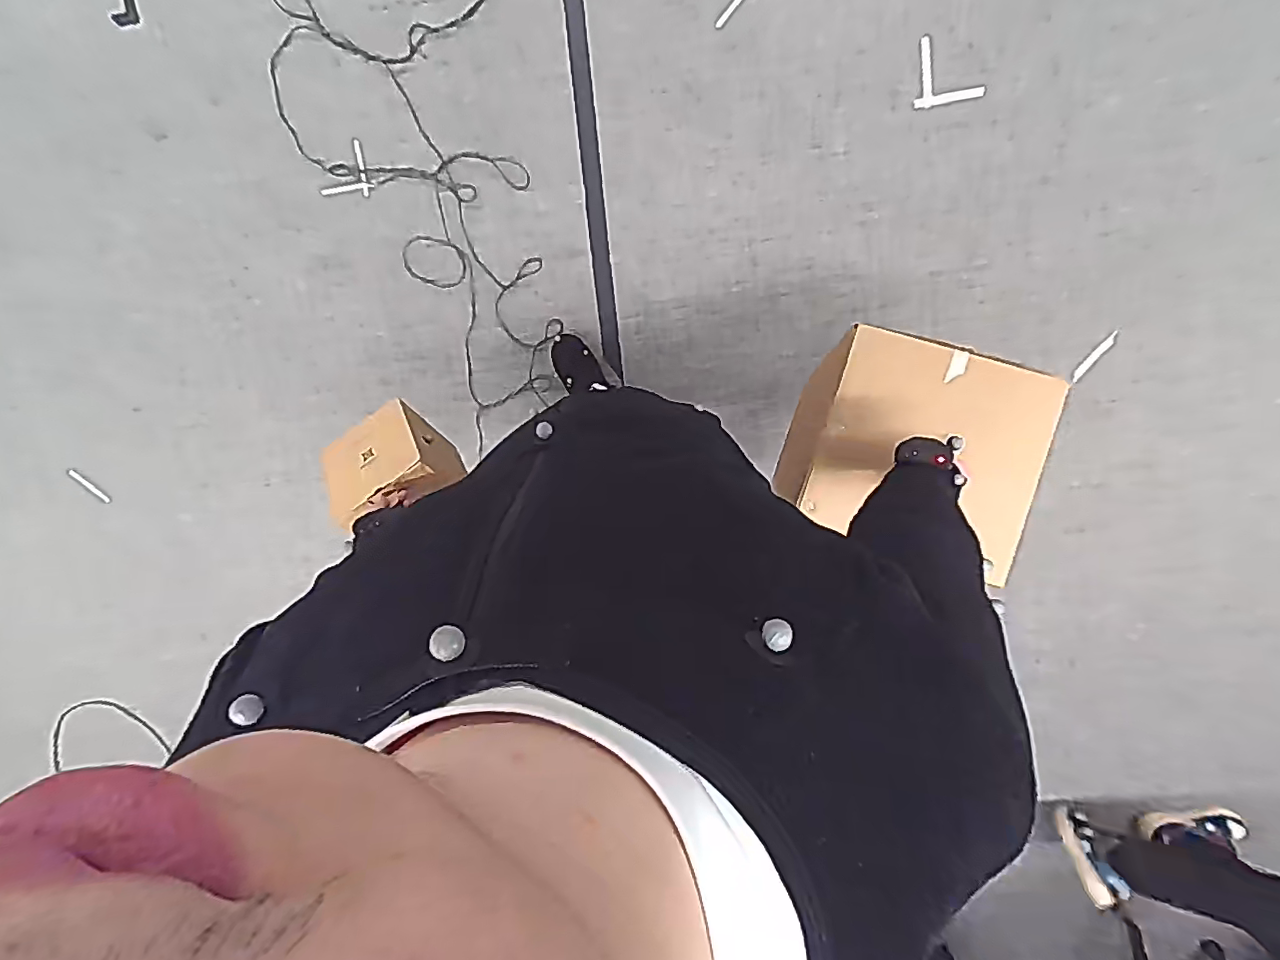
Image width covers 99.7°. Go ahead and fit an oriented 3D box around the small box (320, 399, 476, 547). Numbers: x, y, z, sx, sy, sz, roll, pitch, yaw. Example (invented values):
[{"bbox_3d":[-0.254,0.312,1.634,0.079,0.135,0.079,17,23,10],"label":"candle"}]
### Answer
[{"bbox_3d":[-0.418,-0.002,0.951,0.168,0.176,0.179,-35,55,-1],"label":"small box"}]
